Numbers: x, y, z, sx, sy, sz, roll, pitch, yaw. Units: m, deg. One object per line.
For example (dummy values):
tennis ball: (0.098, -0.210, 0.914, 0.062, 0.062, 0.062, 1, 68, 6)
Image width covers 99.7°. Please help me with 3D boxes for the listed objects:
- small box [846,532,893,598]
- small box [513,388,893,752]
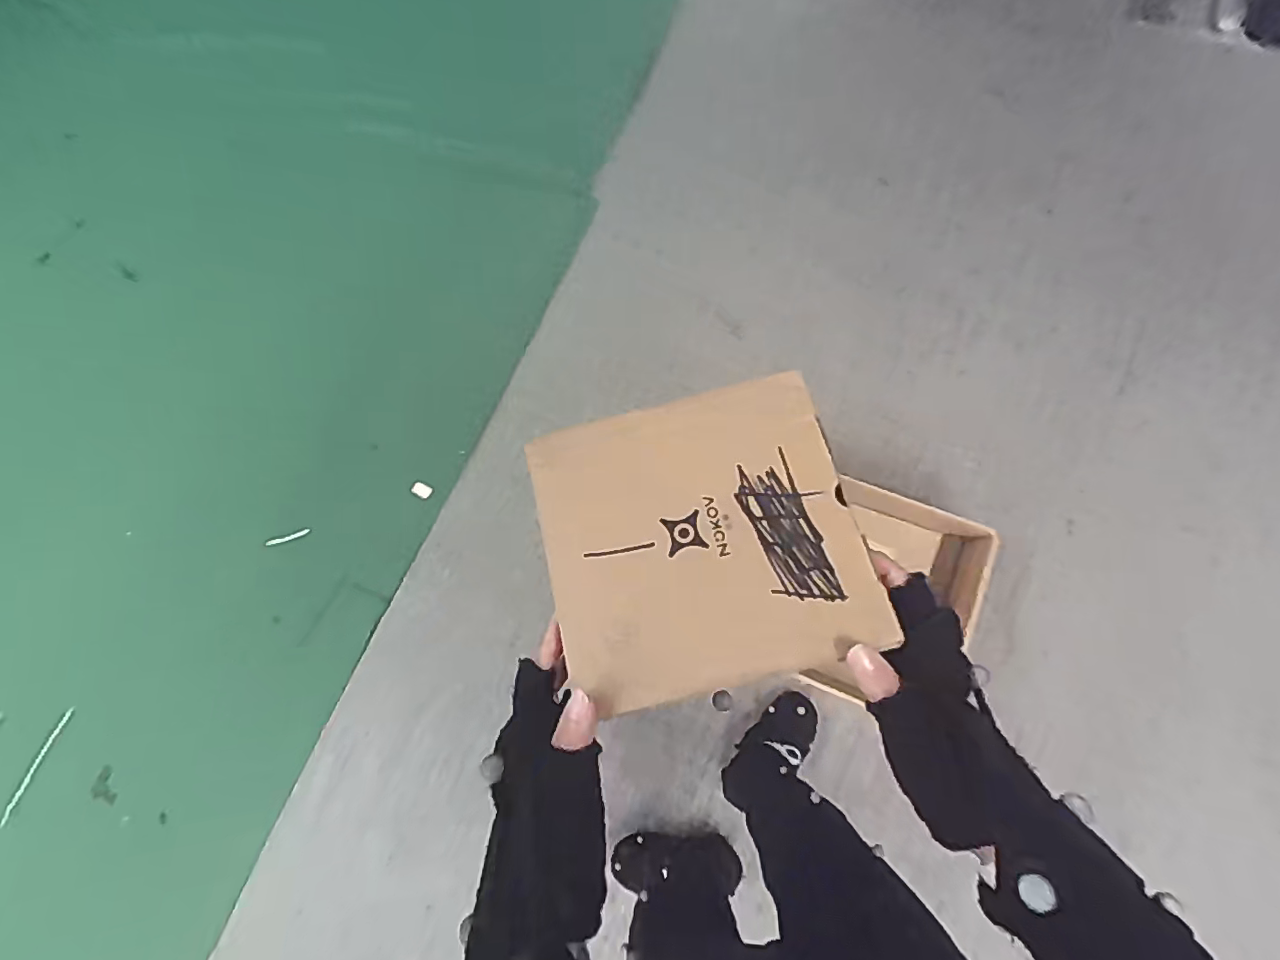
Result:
small box: (0.306, 0.178, 0.939, 0.168, 0.176, 0.179, 23, 81, 11)
small box: (0.032, 0.064, 0.376, 0.179, 0.176, 0.168, -17, 72, -3)
